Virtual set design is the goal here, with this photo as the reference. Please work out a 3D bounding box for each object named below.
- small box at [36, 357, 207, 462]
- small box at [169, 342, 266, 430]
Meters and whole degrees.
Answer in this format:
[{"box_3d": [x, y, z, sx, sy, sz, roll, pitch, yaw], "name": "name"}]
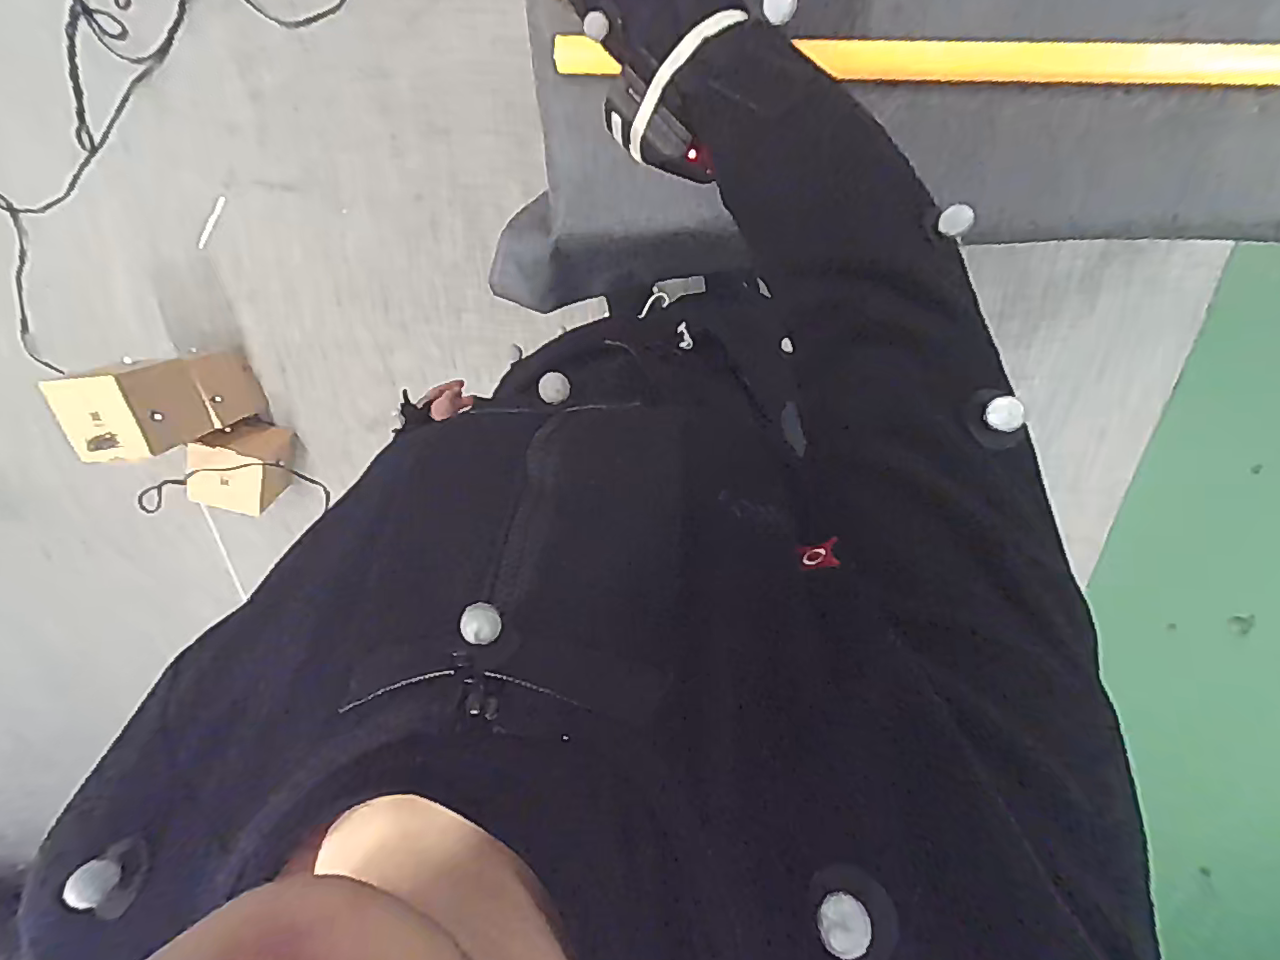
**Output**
[{"box_3d": [-1.087, -0.153, 1.156, 0.168, 0.176, 0.179, -4, 115, 5], "name": "small box"}, {"box_3d": [-1.069, -0.220, 1.310, 0.179, 0.176, 0.168, -10, 119, 10], "name": "small box"}]
